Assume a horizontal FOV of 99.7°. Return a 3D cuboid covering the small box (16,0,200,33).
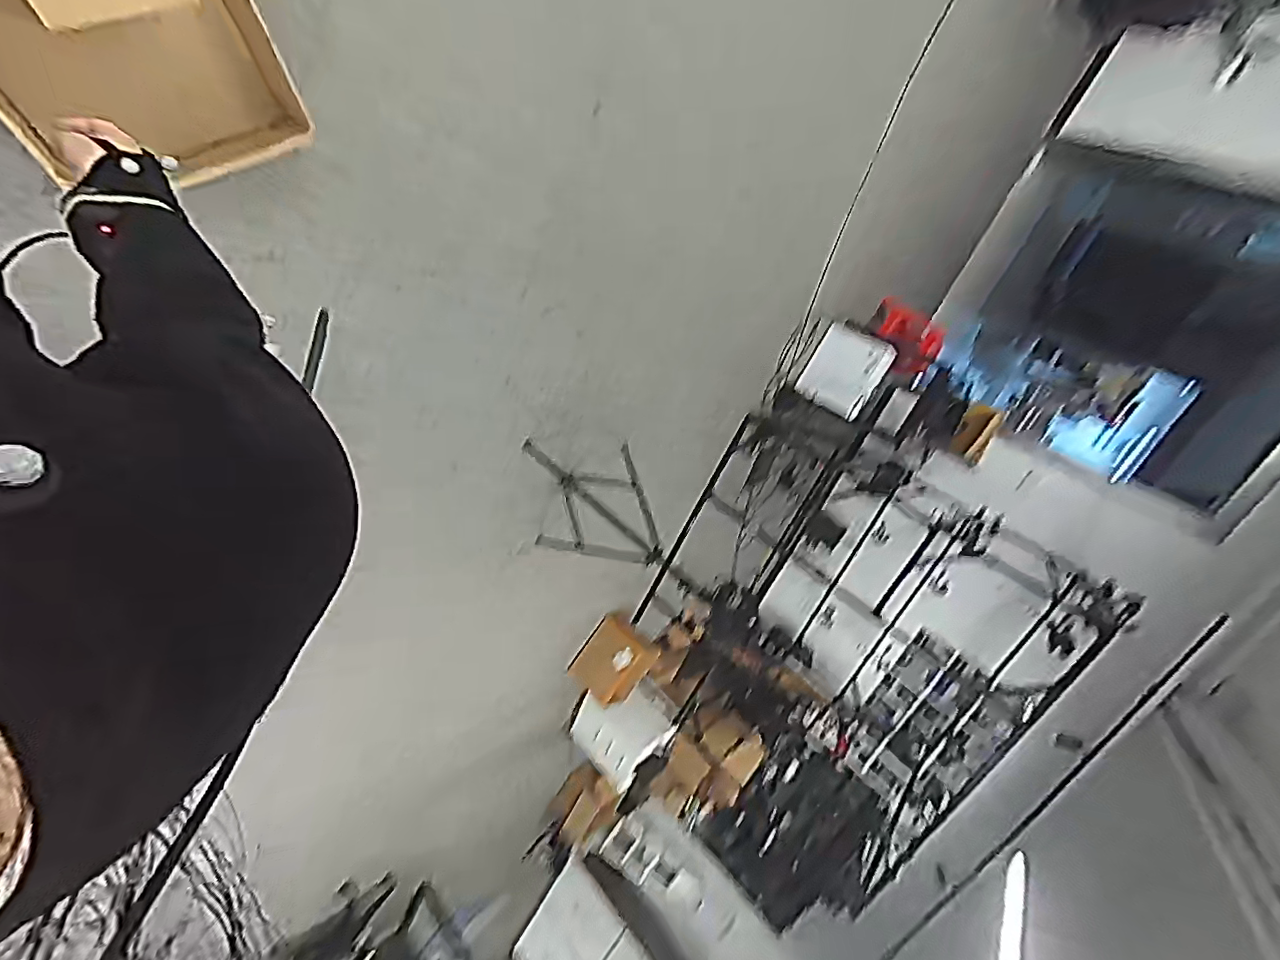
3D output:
[{"bbox_3d":[-0.701,-0.673,0.658,0.179,0.176,0.168,-37,145,-24],"label":"small box"}]
